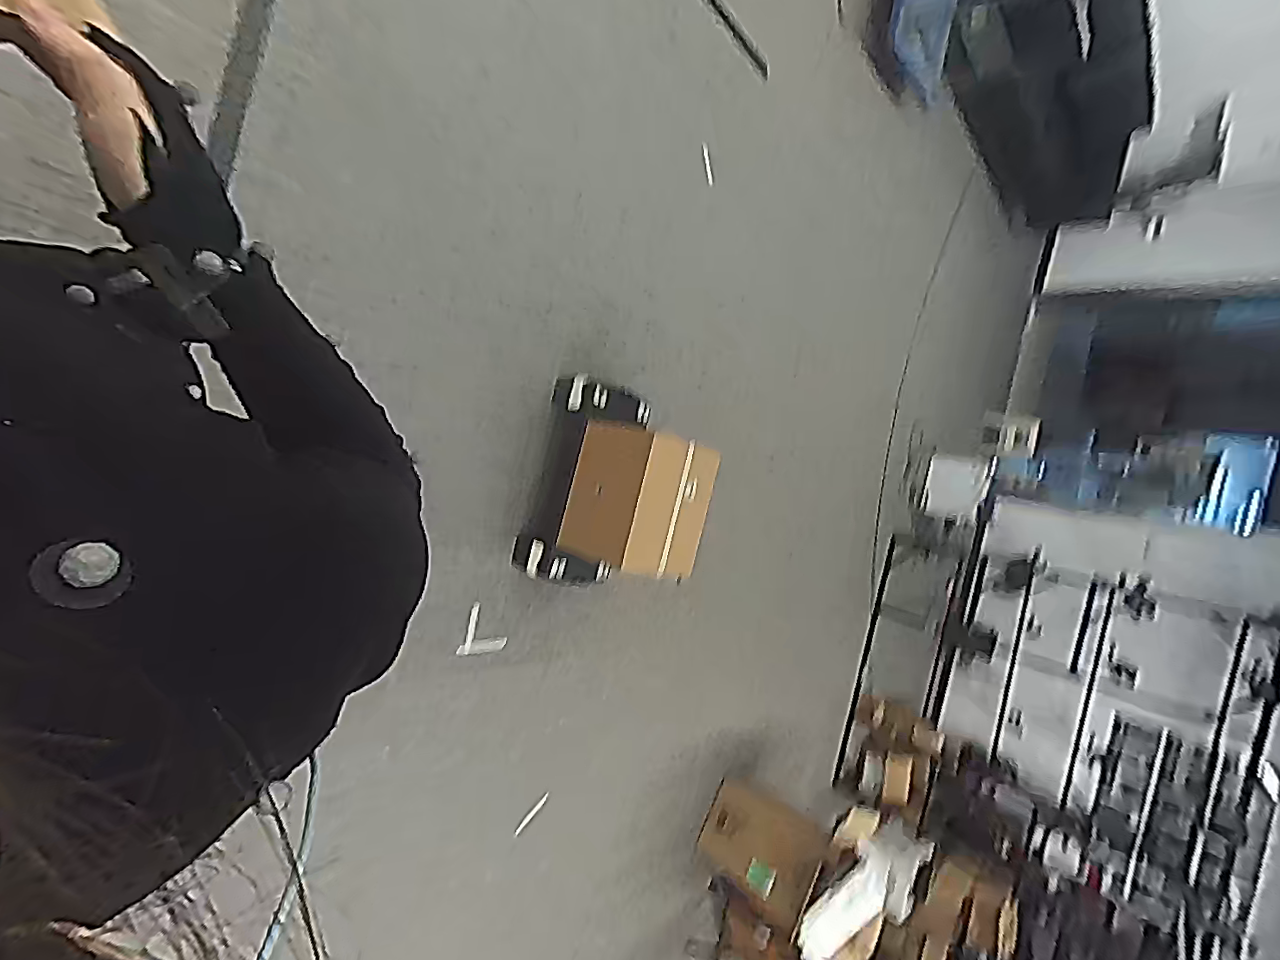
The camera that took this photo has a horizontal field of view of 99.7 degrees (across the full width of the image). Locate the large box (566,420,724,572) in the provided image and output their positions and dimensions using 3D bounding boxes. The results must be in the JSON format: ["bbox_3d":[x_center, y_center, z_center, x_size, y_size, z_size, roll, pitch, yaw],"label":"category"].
[{"bbox_3d":[0.011,0.049,1.675,0.320,0.320,0.408,13,89,-45],"label":"large box"}]

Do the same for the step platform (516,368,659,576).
[{"bbox_3d":[-0.164,-0.022,1.826,0.286,0.204,0.684,20,84,-44],"label":"step platform"}]
